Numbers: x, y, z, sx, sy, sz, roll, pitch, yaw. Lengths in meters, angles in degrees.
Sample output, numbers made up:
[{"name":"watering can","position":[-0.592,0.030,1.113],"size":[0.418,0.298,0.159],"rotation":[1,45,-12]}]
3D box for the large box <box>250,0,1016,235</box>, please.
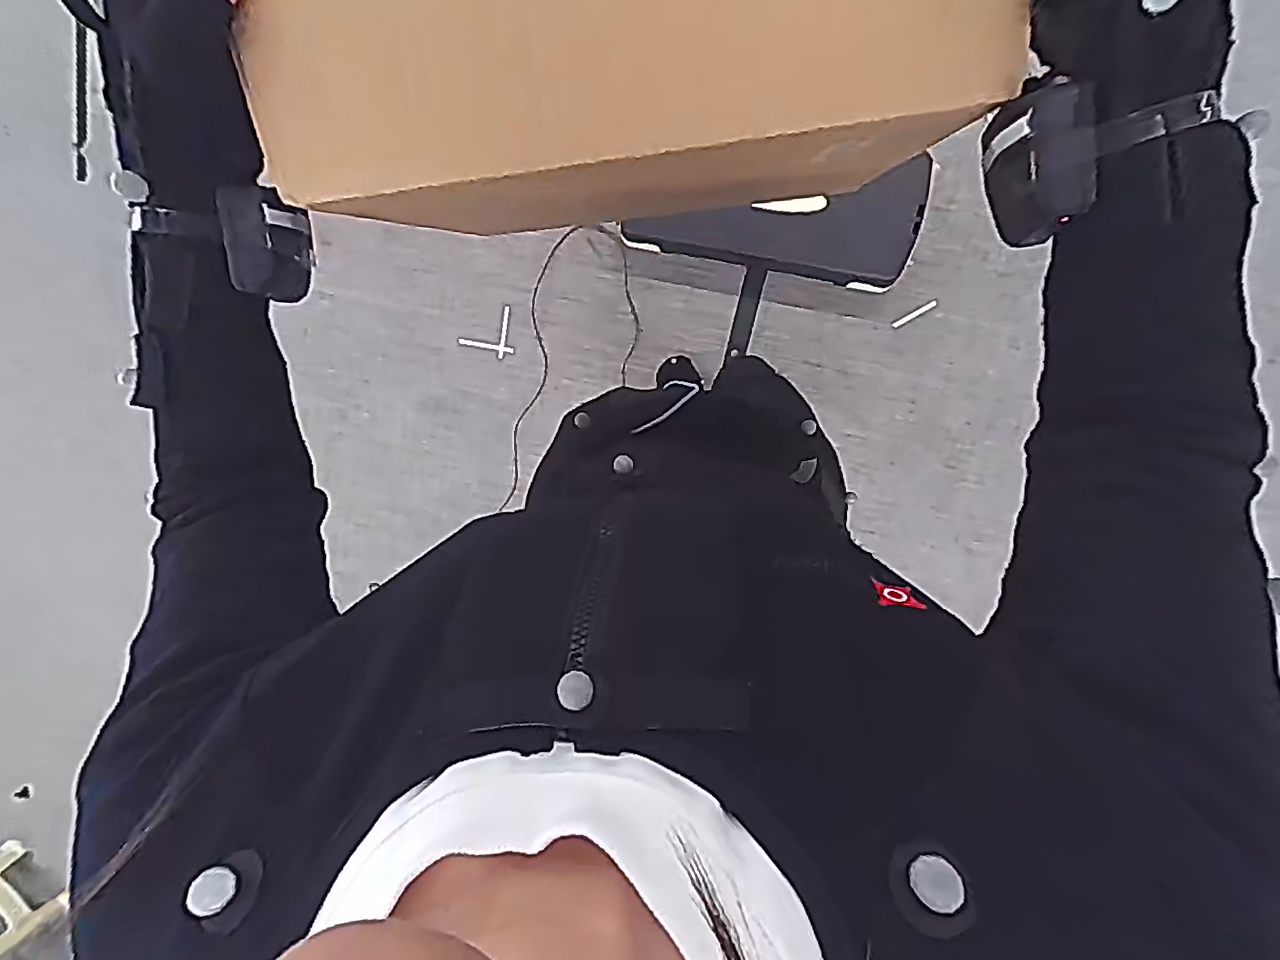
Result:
[{"name":"large box","position":[-0.012,-0.383,0.393],"size":[0.408,0.320,0.320],"rotation":[-4,111,8]}]
